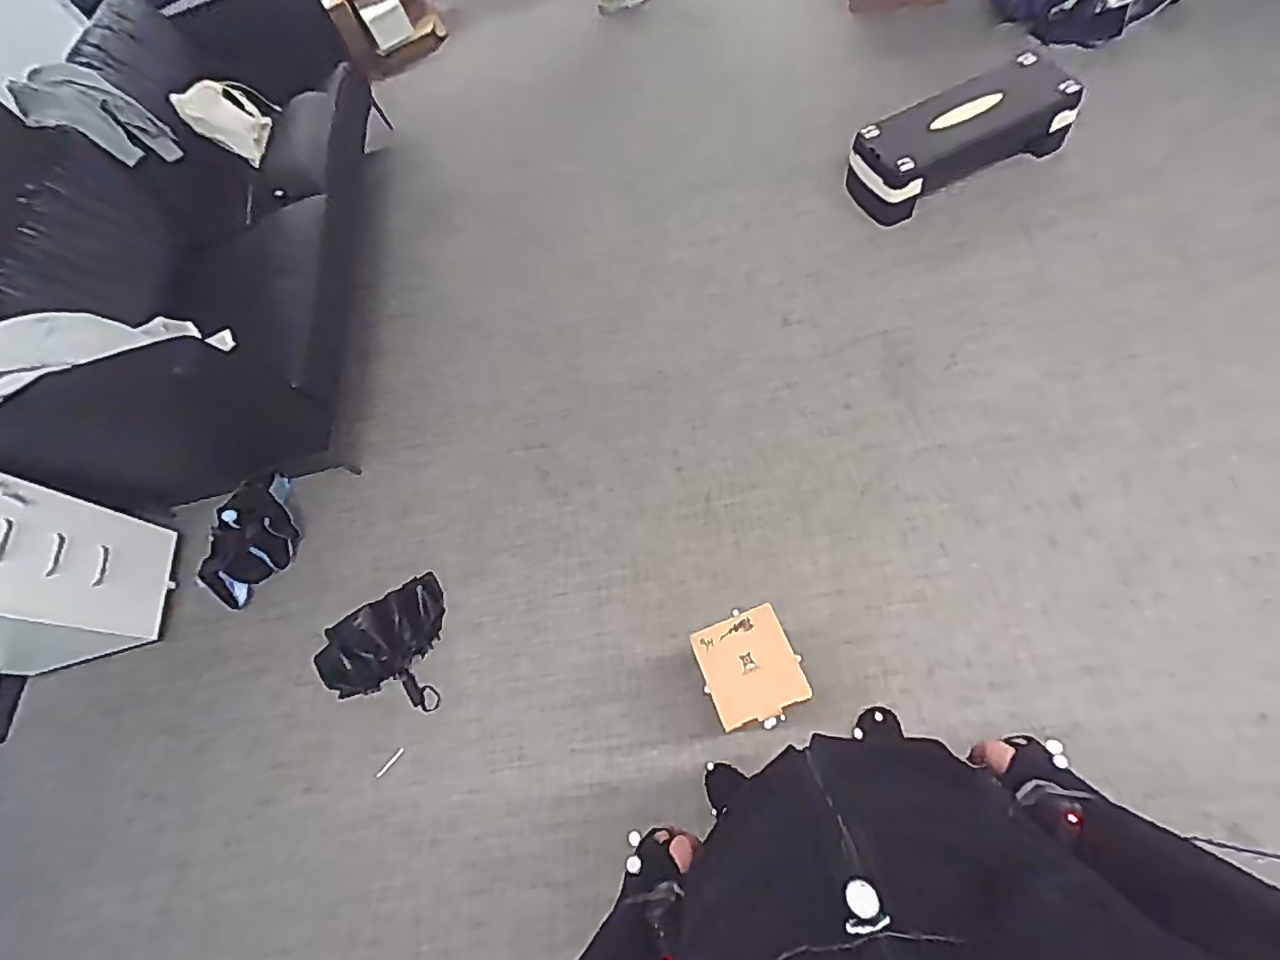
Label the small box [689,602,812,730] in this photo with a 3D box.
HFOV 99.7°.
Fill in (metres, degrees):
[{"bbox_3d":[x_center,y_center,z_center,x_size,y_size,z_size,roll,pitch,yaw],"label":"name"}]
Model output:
[{"bbox_3d":[0.211,0.355,1.030,0.168,0.176,0.179,-23,64,3],"label":"small box"}]
